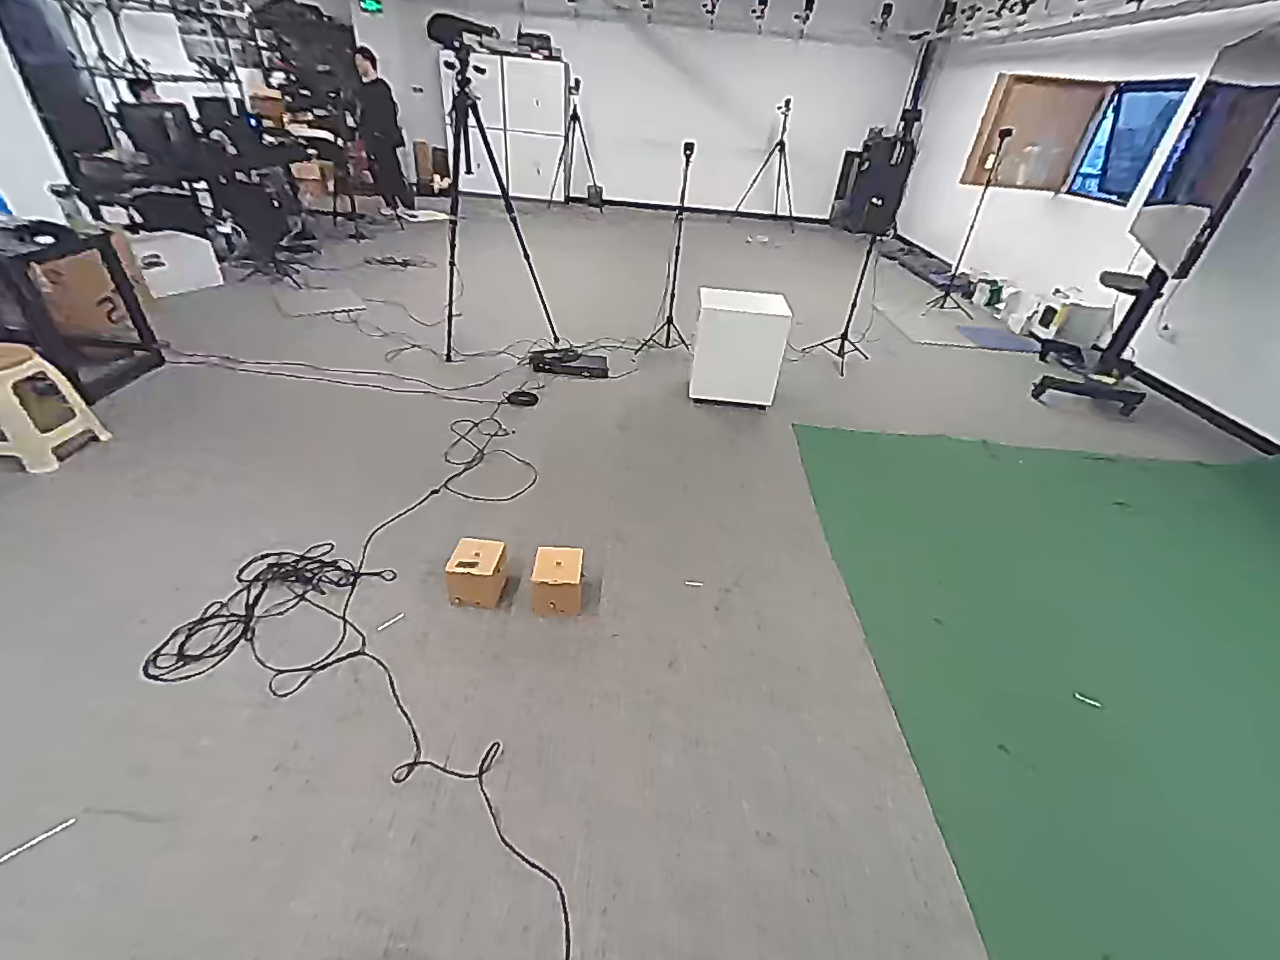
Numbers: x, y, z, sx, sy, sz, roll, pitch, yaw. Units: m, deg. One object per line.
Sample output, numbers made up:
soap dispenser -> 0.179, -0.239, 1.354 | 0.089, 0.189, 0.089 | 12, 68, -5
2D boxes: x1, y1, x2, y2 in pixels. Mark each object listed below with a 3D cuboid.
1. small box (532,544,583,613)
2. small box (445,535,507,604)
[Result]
small box -> -0.295, 0.355, 1.955 | 0.168, 0.176, 0.179 | 3, 36, -3
small box -> -0.585, 0.326, 1.955 | 0.168, 0.176, 0.179 | 6, 35, 1
